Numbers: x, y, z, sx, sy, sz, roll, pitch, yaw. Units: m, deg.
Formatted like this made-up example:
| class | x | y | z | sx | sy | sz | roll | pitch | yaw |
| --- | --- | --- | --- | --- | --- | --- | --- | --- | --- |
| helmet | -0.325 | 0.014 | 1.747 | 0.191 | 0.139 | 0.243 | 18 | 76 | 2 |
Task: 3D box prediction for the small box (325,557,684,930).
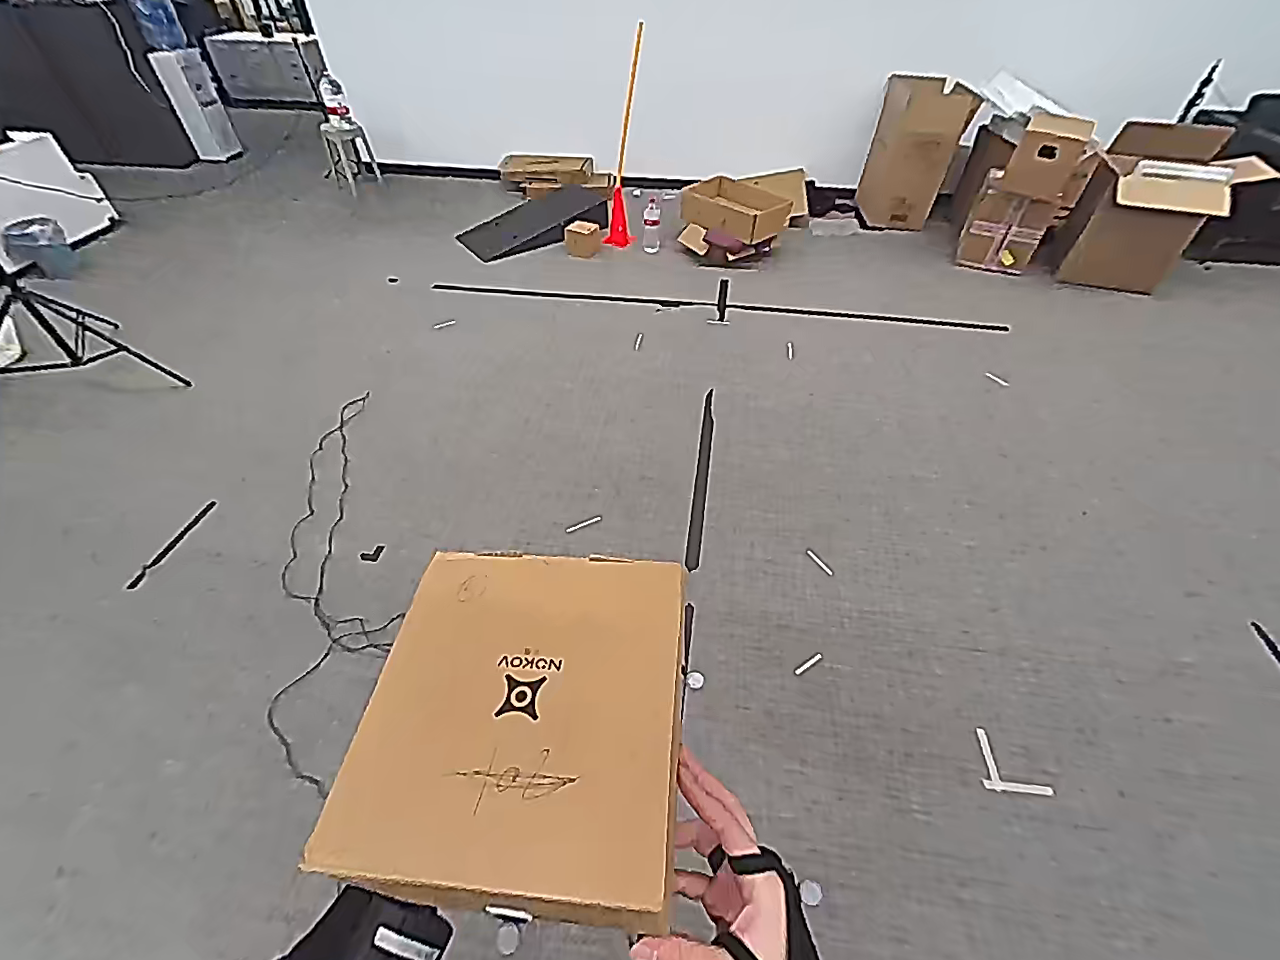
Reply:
| class | x | y | z | sx | sy | sz | roll | pitch | yaw |
| --- | --- | --- | --- | --- | --- | --- | --- | --- | --- |
| small box | -0.057 | 0.173 | 0.360 | 0.168 | 0.176 | 0.179 | 1 | 48 | 7 |
